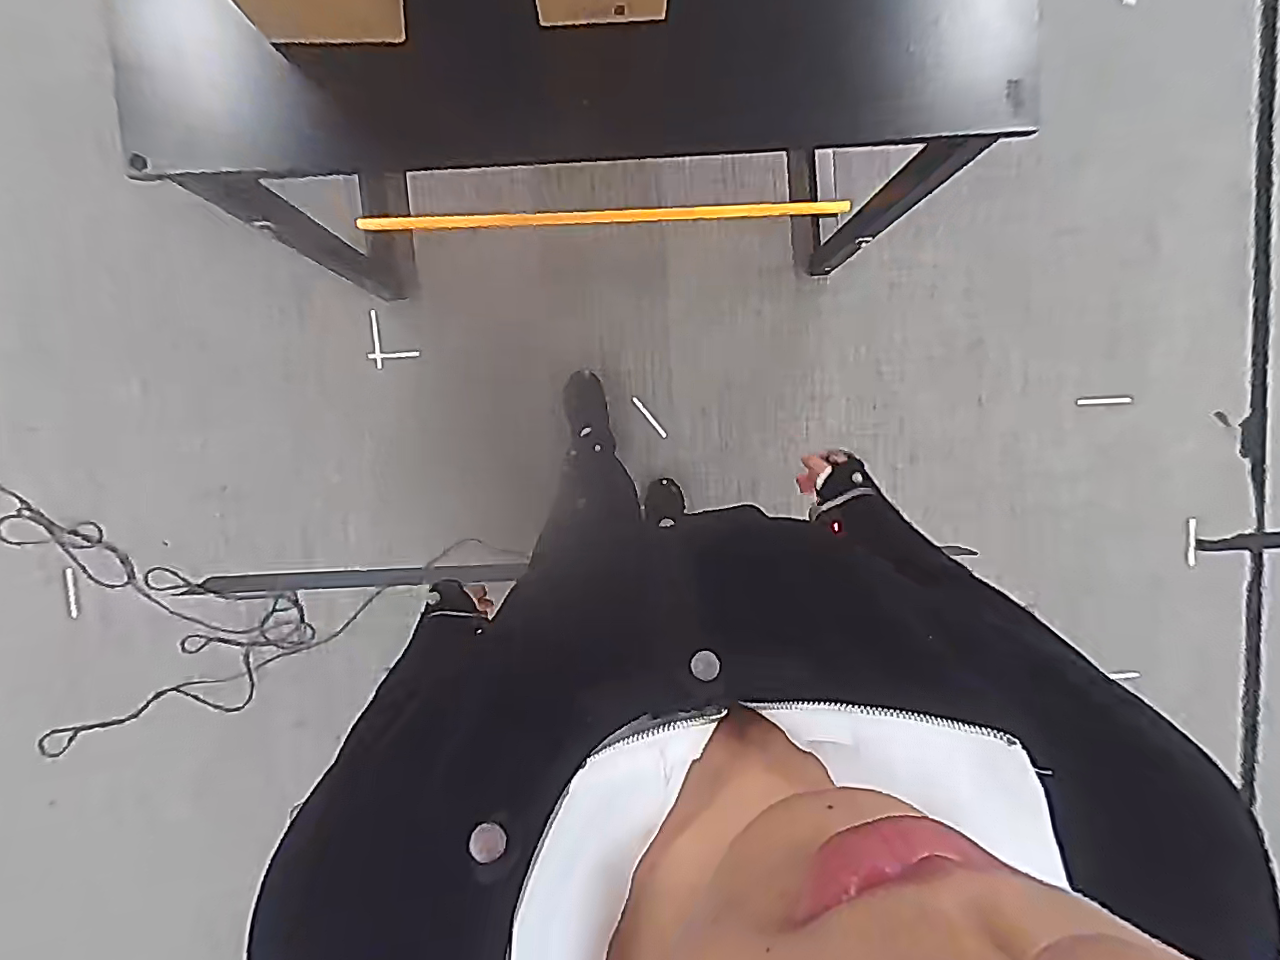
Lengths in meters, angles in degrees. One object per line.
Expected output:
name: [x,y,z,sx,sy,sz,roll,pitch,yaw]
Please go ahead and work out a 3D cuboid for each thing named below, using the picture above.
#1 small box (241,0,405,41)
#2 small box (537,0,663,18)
small box: [-0.390,-0.640,0.612,0.179,0.176,0.168,-2,95,-3]
small box: [-0.055,-0.679,0.623,0.168,0.176,0.179,-5,95,-1]
